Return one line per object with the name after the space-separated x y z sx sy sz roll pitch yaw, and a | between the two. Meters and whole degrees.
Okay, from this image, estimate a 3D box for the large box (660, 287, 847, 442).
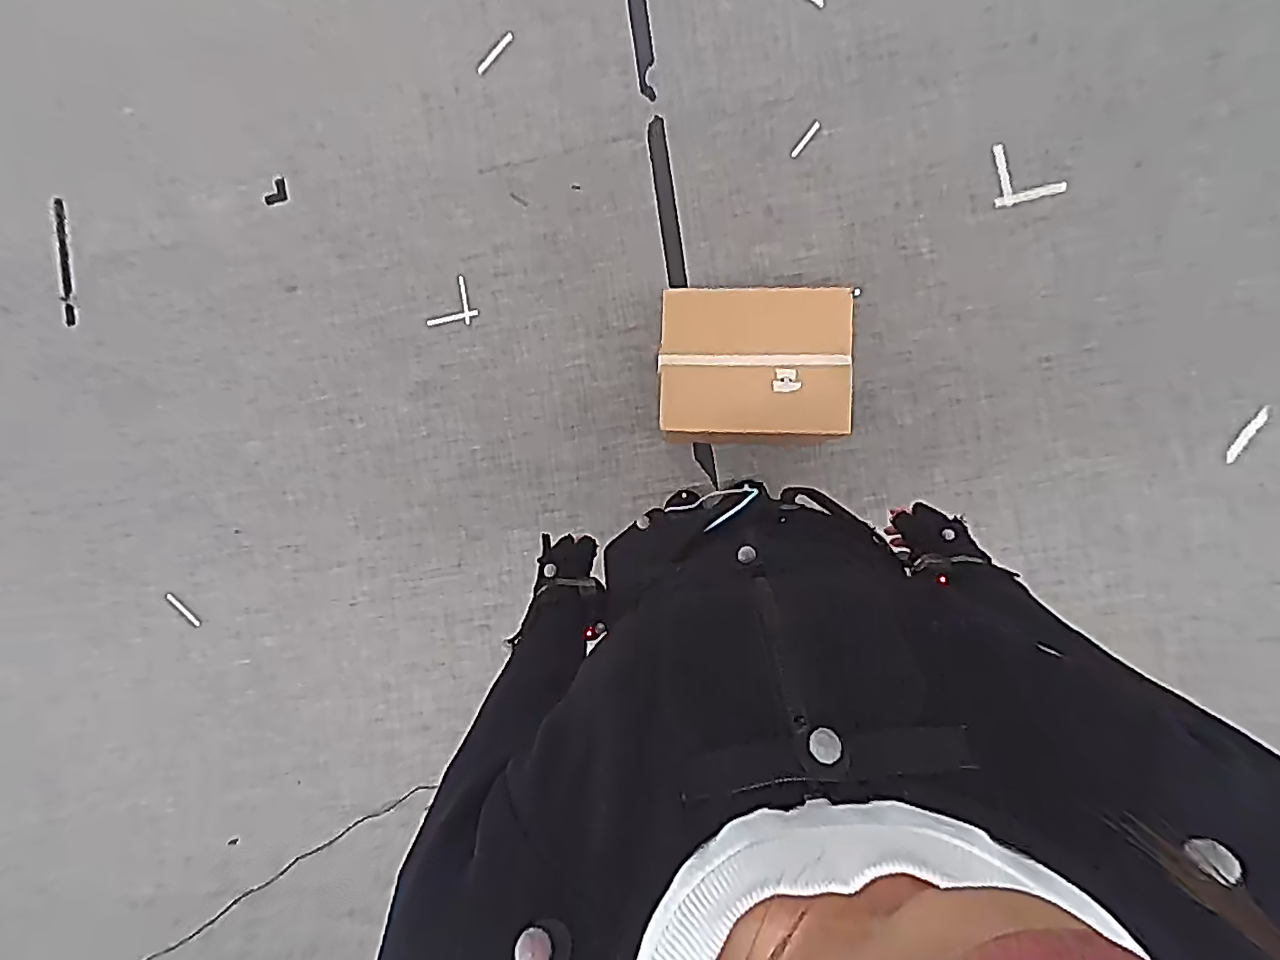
0.257 -0.261 1.323 0.408 0.320 0.320 2 90 5 | large box
